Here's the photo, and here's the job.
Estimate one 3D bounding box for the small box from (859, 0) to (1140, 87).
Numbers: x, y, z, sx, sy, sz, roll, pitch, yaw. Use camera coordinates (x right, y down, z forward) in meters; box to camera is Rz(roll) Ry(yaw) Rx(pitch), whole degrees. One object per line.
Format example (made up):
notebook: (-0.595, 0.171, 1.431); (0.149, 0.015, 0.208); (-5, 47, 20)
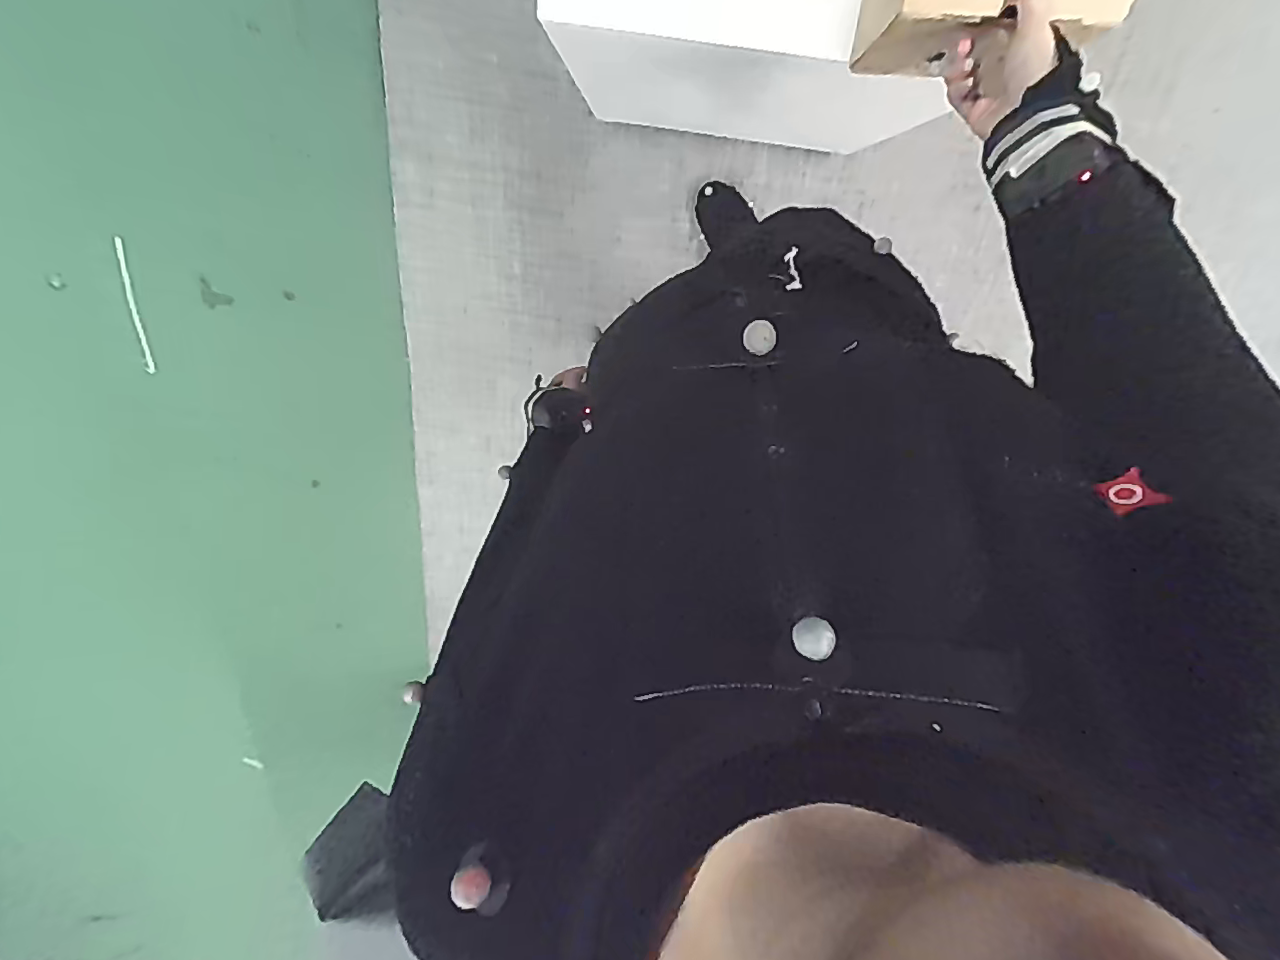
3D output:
small box: (0.297, -0.455, 0.445); (0.168, 0.176, 0.179); (5, 115, 4)
